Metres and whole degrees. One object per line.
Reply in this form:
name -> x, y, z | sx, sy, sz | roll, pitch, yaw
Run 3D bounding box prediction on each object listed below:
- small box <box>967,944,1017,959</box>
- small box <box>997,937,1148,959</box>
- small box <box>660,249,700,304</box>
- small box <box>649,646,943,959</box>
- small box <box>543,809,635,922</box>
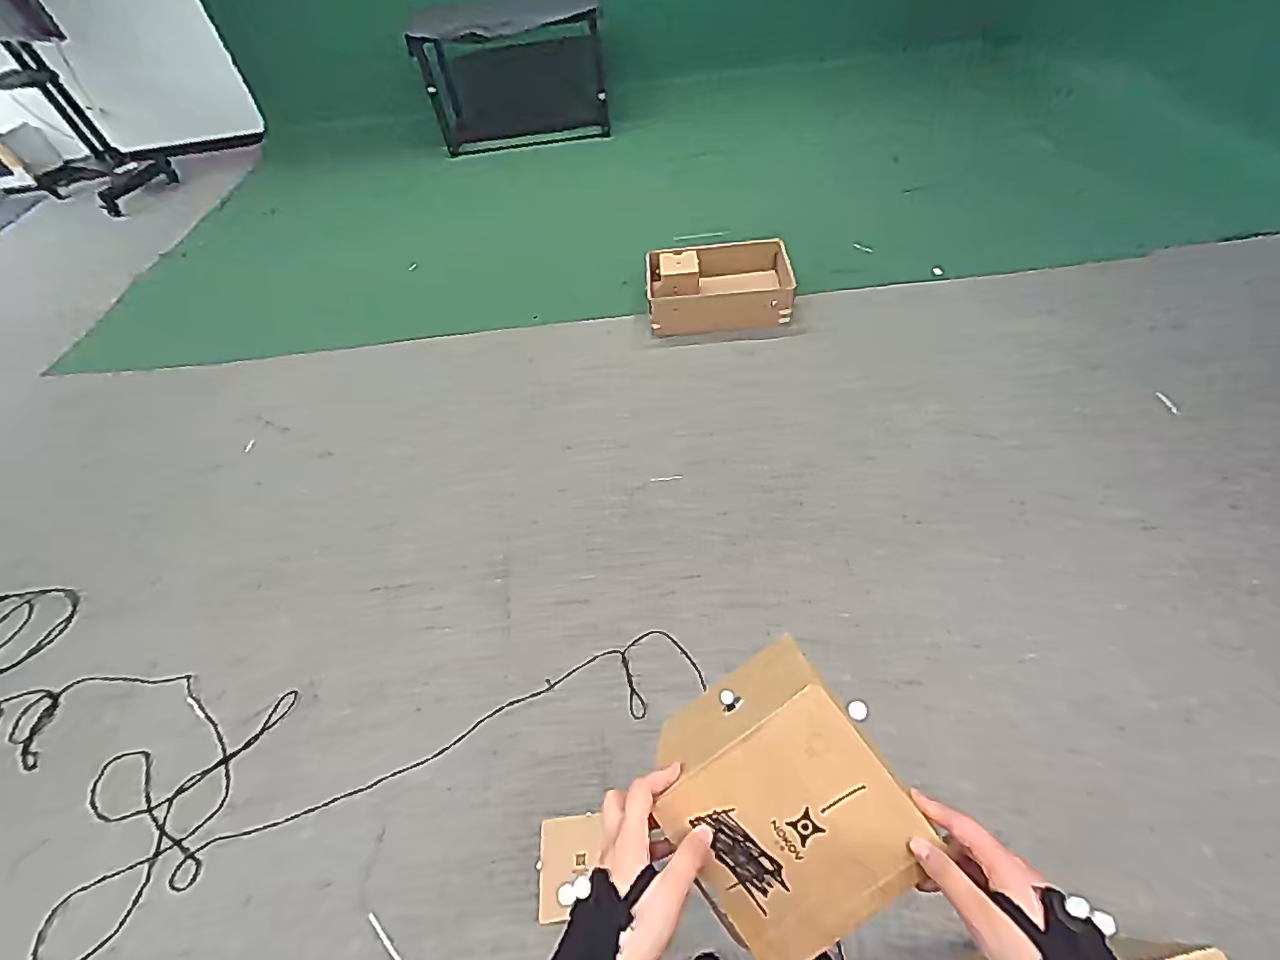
small box -> 0.717, 0.943, 0.964 | 0.179, 0.176, 0.168 | -8, 52, 2
small box -> 0.698, 0.834, 0.843 | 0.179, 0.176, 0.168 | -8, 53, -1
small box -> 0.181, -0.907, 2.425 | 0.168, 0.176, 0.179 | -4, 52, 4
small box -> 0.131, 0.290, 0.512 | 0.179, 0.176, 0.168 | -38, 85, 3
small box -> -0.106, 0.826, 1.156 | 0.168, 0.176, 0.179 | -8, 51, 2
